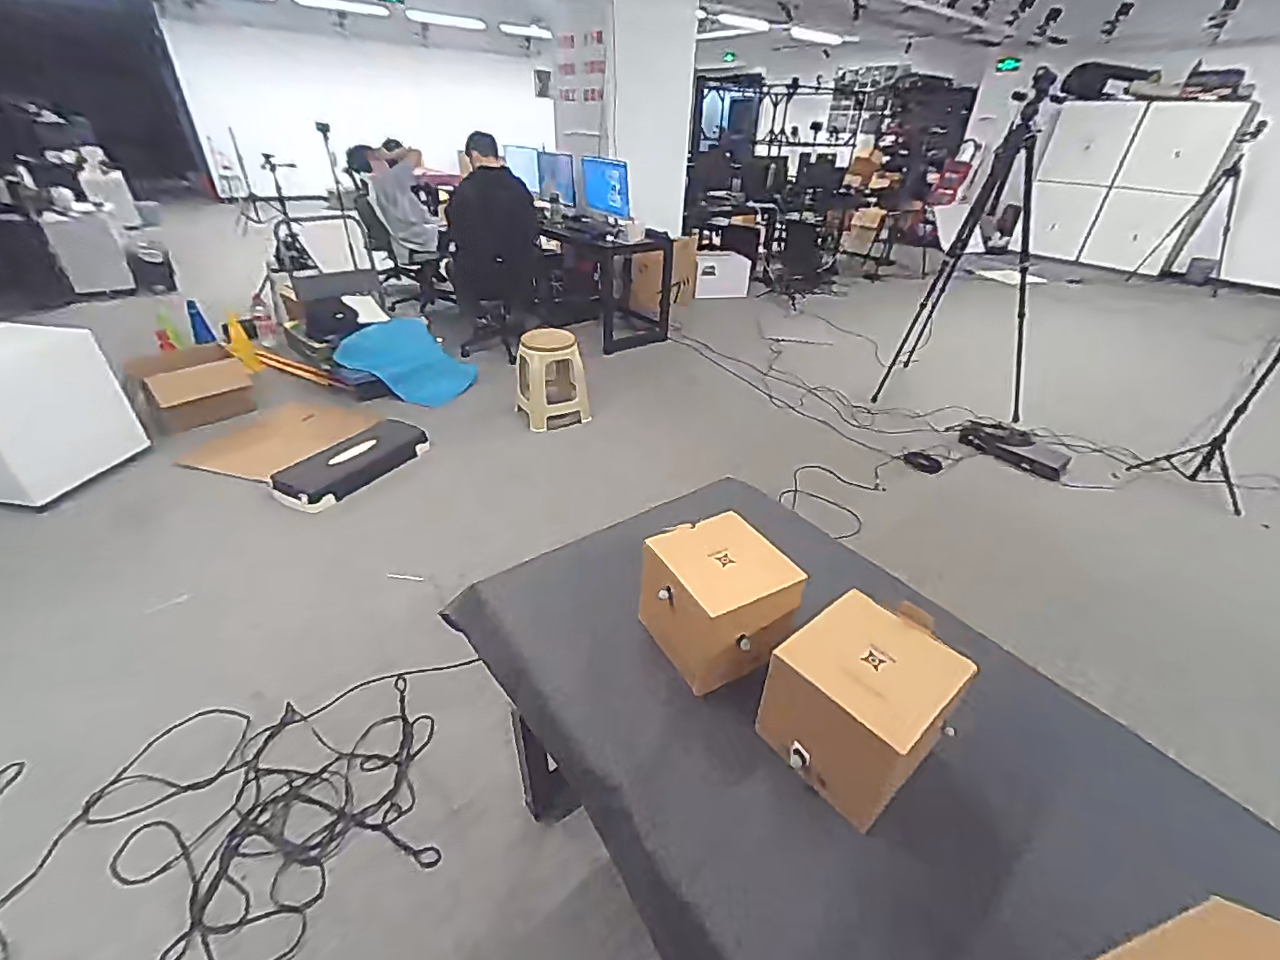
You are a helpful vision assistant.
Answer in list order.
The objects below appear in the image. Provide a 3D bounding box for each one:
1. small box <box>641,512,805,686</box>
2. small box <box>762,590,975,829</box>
[{"bbox_3d":[0.114,0.180,0.812,0.168,0.176,0.179,-15,37,-26],"label":"small box"},{"bbox_3d":[0.272,0.277,0.674,0.179,0.176,0.168,-24,40,-34],"label":"small box"}]
